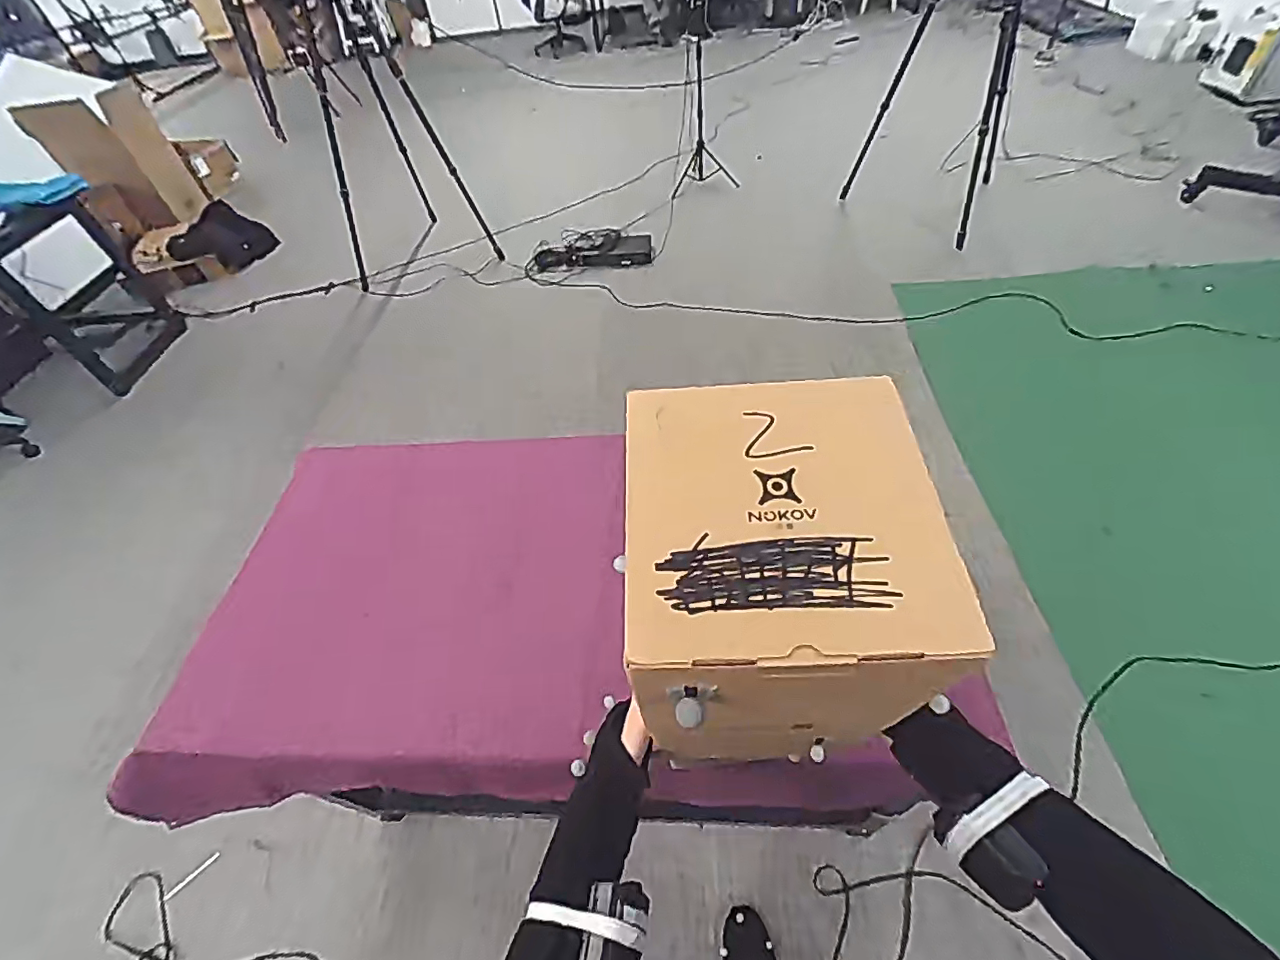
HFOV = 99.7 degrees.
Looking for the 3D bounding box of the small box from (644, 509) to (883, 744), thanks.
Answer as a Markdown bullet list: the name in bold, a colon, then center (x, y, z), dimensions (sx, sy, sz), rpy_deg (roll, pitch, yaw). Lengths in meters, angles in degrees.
- **small box**: center (0.098, 0.144, 0.509), dimensions (0.179, 0.176, 0.168), rpy_deg (-5, 55, 4)
